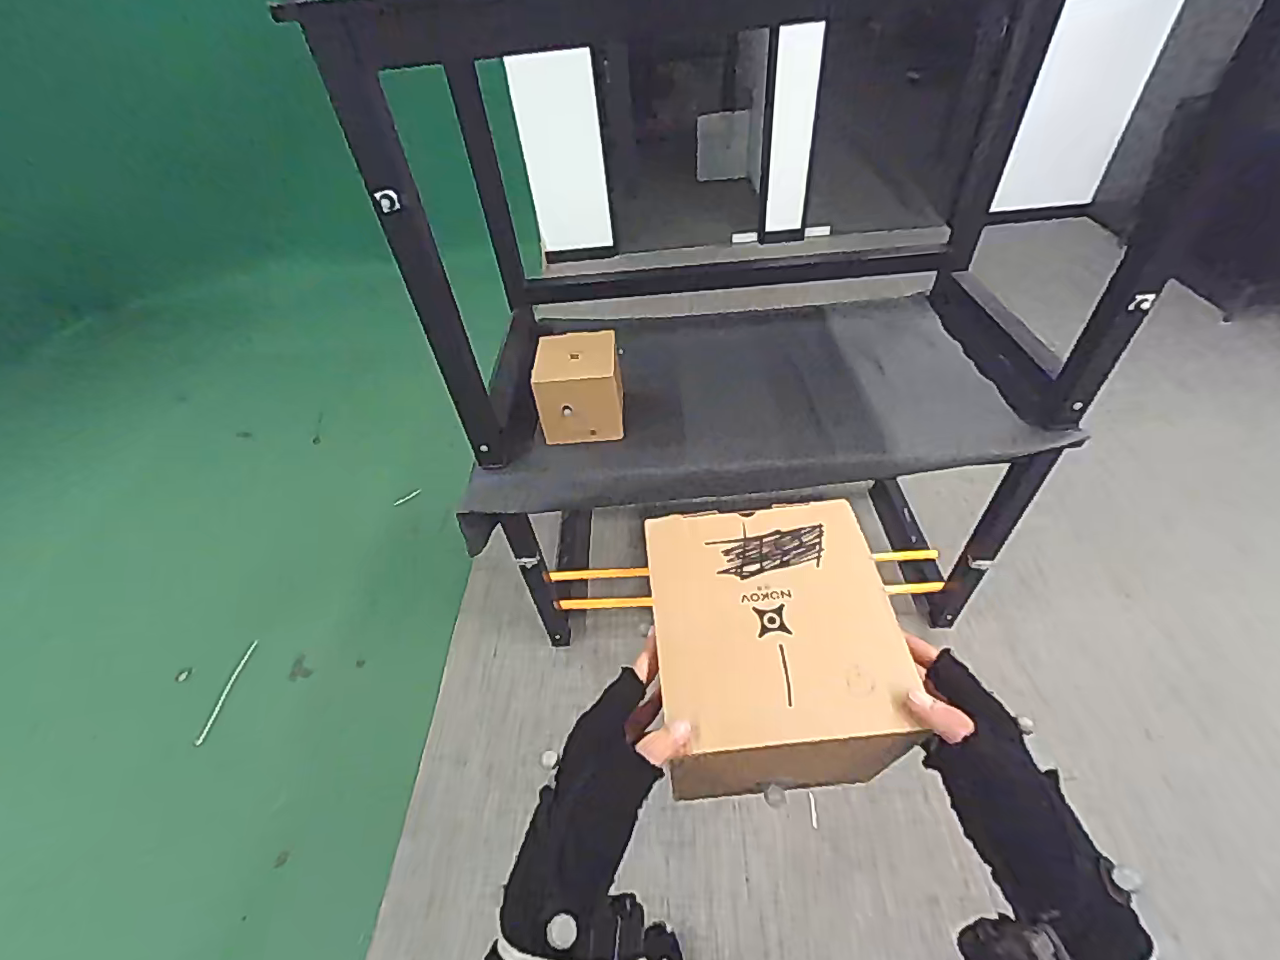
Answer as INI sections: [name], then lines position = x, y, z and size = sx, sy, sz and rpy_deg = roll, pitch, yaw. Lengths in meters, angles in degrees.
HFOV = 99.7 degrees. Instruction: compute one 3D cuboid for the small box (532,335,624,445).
[small box]
position = -0.124, -0.188, 1.161
size = 0.168, 0.176, 0.179
rpy_deg = -5, 44, 2
